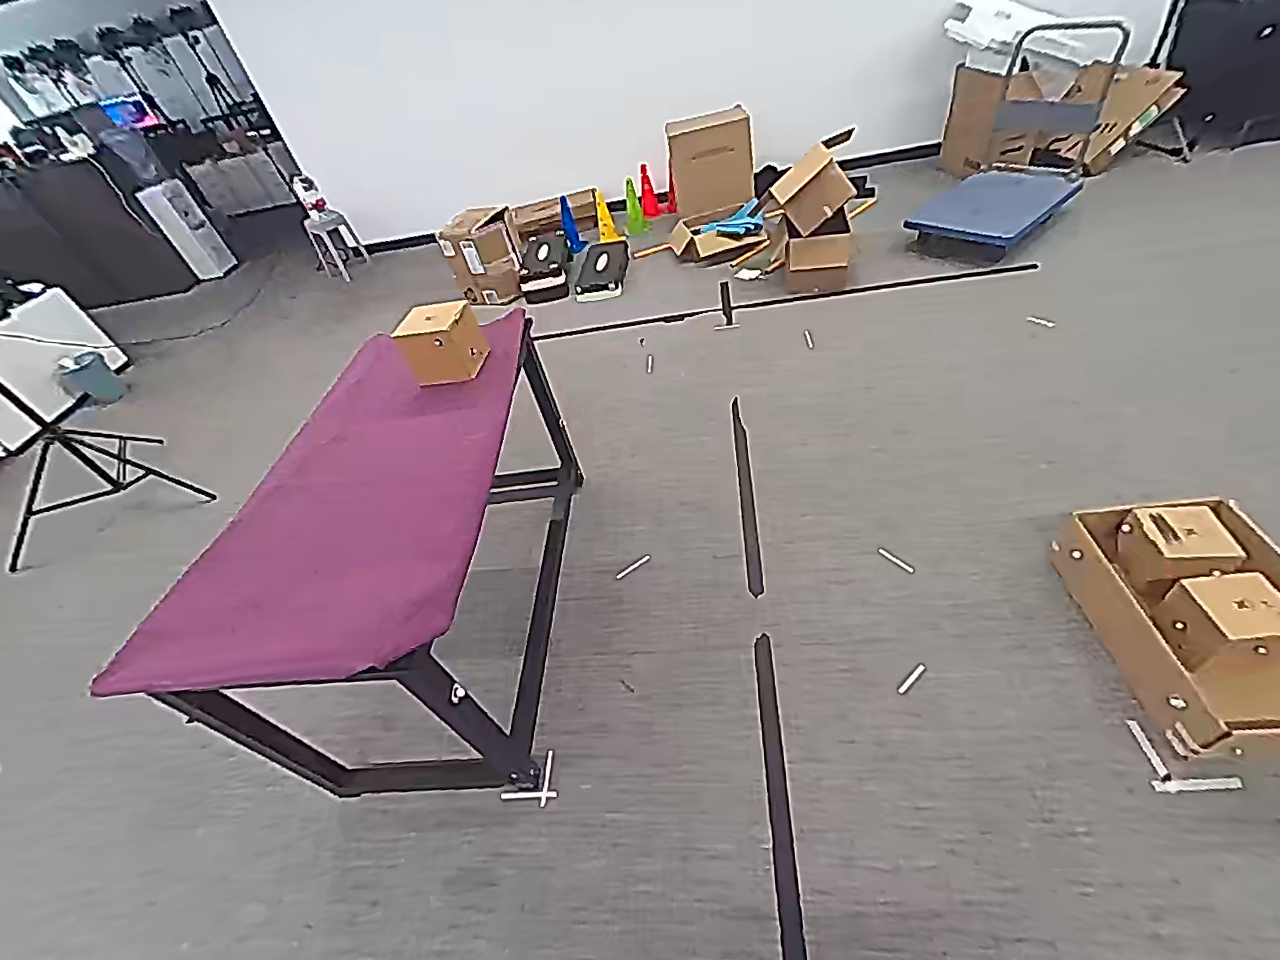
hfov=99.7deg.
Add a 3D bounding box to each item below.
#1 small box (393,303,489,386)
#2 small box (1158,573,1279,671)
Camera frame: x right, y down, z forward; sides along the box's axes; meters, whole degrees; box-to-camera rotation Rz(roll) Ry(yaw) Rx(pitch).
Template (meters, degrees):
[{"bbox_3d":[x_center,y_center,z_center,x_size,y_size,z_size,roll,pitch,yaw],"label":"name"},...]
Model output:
[{"bbox_3d":[-0.568,-0.386,1.564,0.179,0.176,0.168,-4,45,13],"label":"small box"},{"bbox_3d":[1.413,0.347,1.303,0.179,0.176,0.168,-7,44,8],"label":"small box"}]
